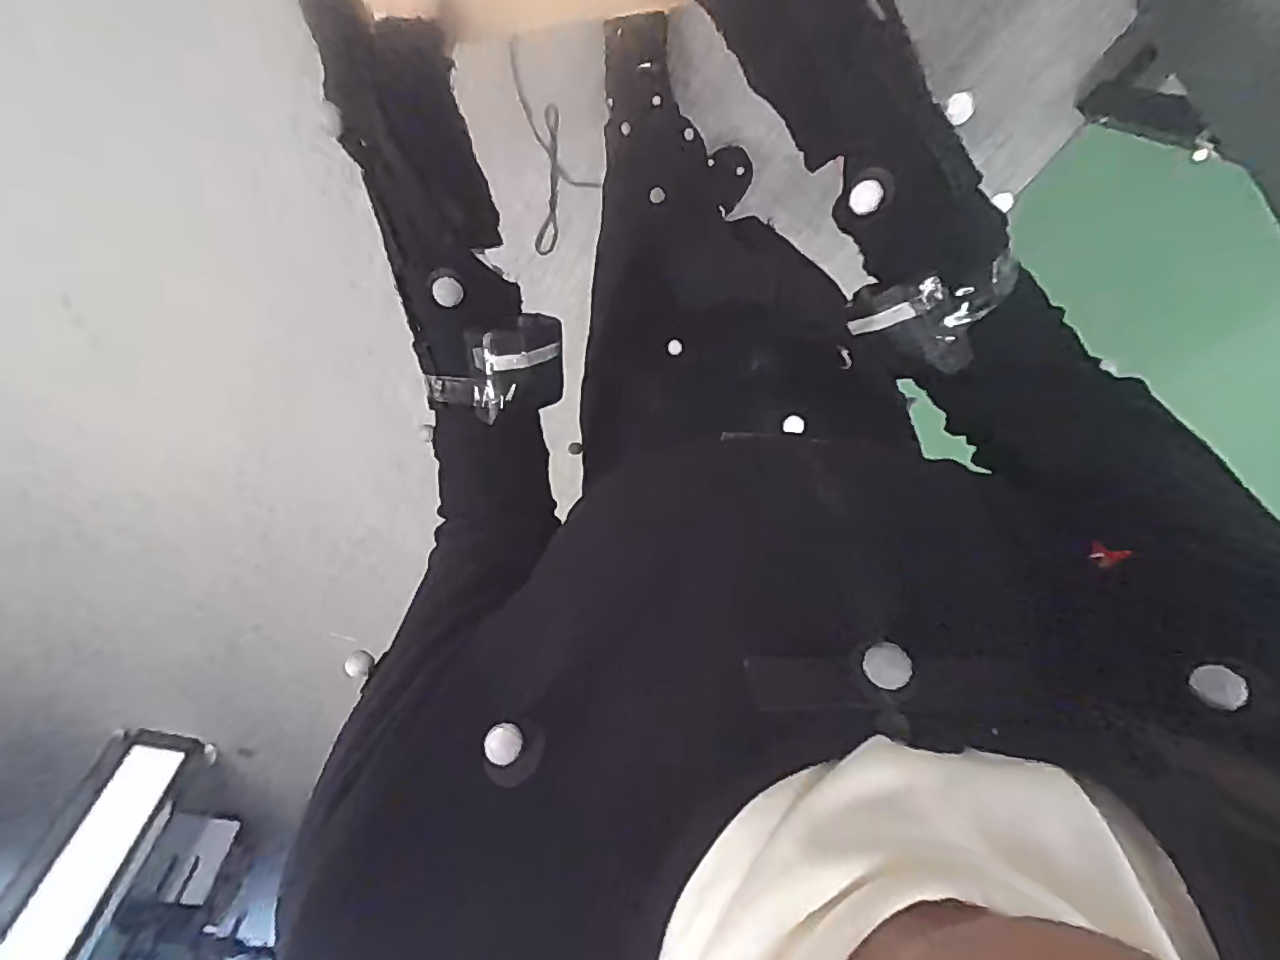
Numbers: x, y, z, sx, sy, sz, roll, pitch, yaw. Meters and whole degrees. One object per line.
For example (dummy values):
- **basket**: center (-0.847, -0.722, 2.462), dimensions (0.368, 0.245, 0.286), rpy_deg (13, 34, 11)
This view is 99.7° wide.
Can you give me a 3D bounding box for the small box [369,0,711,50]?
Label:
- **small box**: center (-0.062, -0.337, 0.249), dimensions (0.168, 0.176, 0.179), rpy_deg (-9, 141, 0)
